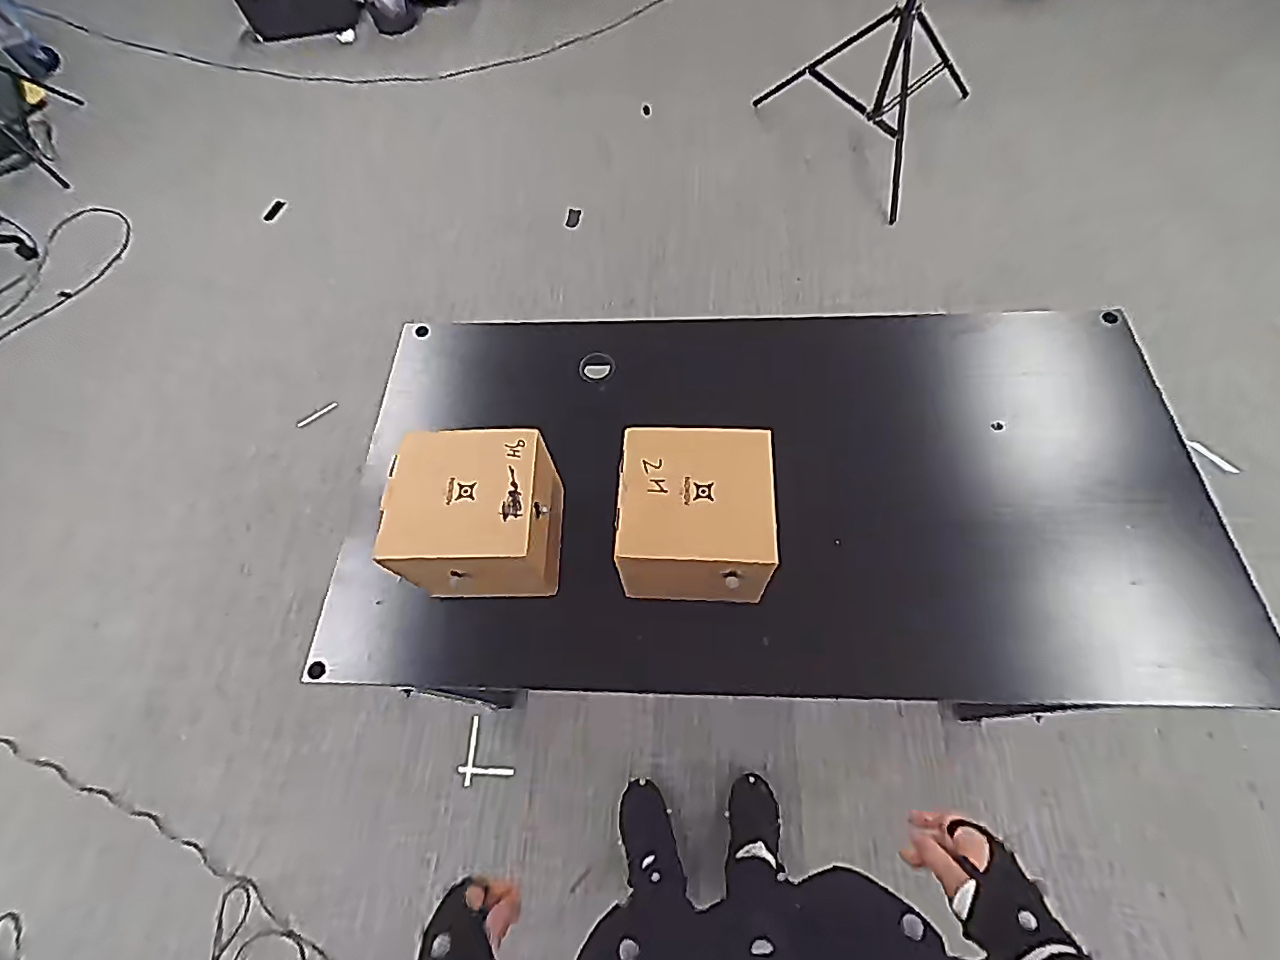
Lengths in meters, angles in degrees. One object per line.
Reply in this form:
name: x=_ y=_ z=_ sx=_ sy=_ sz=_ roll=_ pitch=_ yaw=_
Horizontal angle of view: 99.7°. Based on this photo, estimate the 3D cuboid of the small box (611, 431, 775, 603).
small box: x=0.065 y=0.053 z=0.681 sx=0.179 sy=0.176 sz=0.168 roll=1 pitch=63 yaw=5

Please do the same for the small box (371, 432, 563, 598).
small box: x=-0.207 y=0.053 z=0.701 sx=0.179 sy=0.176 sz=0.168 roll=-2 pitch=63 yaw=3
